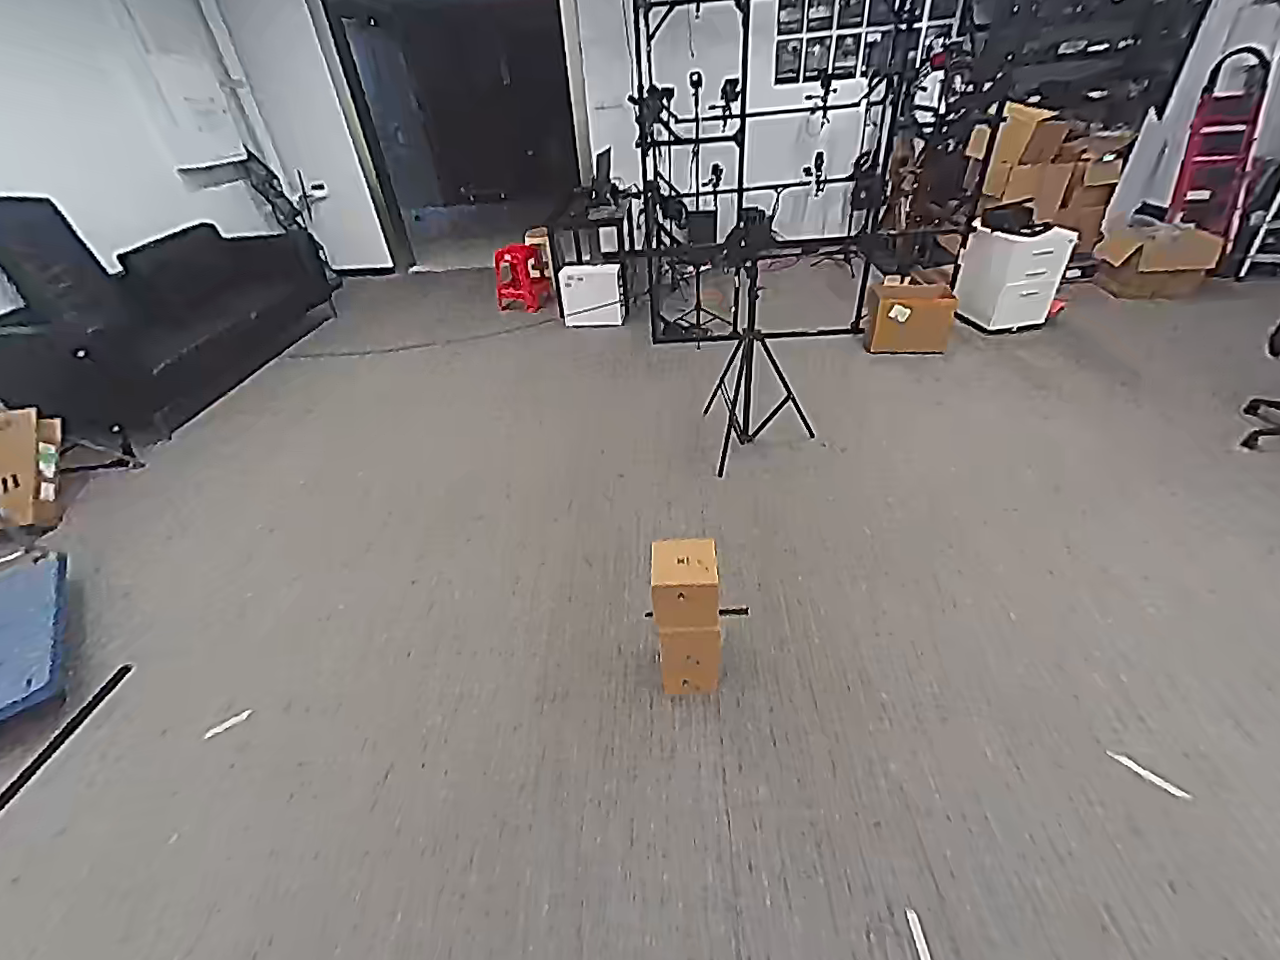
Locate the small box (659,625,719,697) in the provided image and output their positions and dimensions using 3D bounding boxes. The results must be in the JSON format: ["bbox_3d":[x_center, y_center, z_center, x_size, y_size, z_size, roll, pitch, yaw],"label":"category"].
[{"bbox_3d":[0.147,0.544,1.674,0.168,0.176,0.179,-6,36,0],"label":"small box"}]

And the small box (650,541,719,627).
[{"bbox_3d":[0.123,0.286,1.470,0.179,0.176,0.168,-2,37,4],"label":"small box"}]
